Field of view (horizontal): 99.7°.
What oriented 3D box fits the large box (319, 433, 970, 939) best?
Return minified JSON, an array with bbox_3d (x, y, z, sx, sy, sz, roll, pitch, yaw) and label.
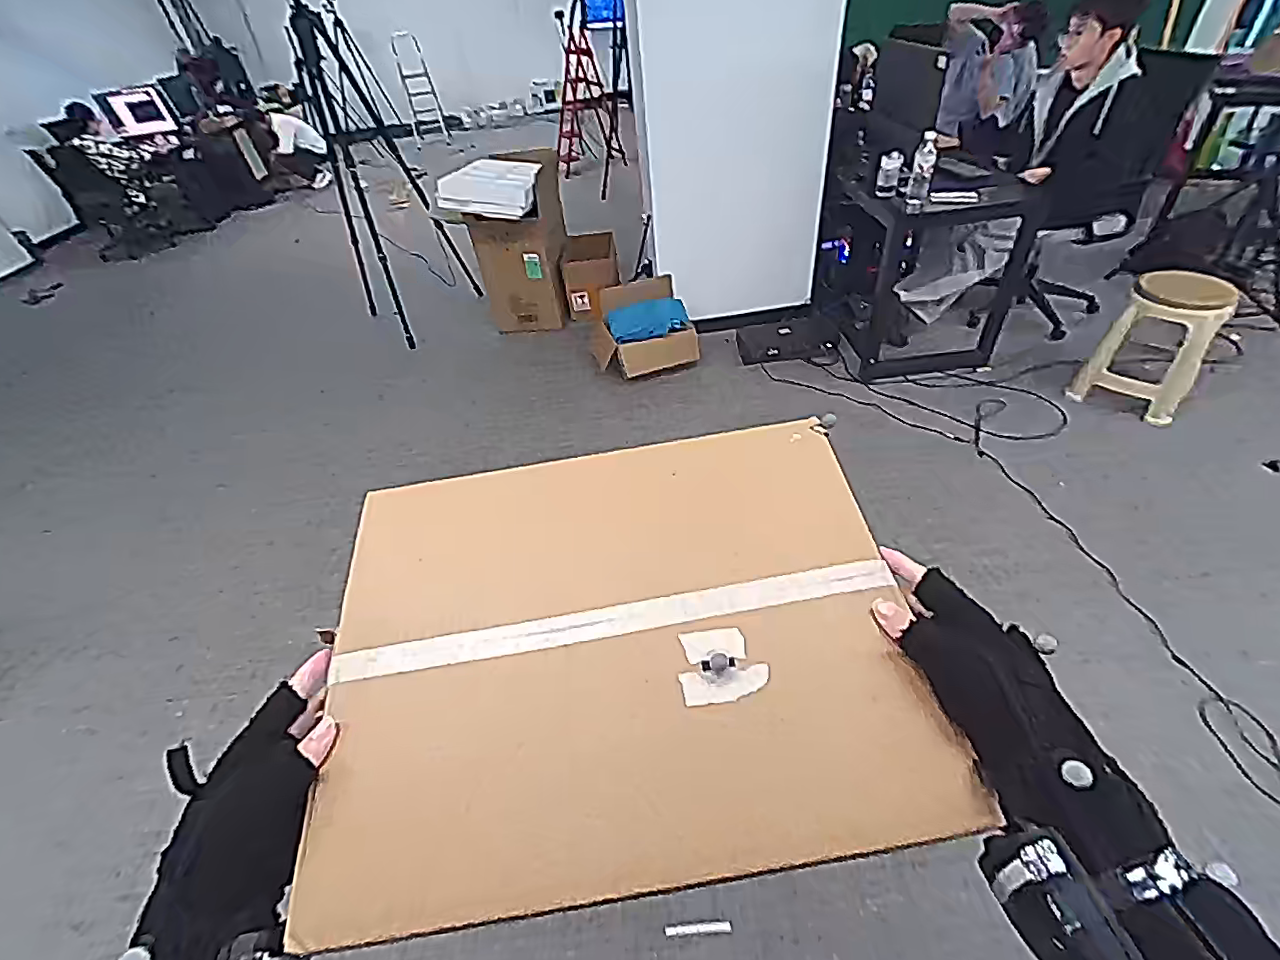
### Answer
[{"bbox_3d":[-0.006,0.197,0.525,0.408,0.320,0.320,-9,54,-2],"label":"large box"}]
